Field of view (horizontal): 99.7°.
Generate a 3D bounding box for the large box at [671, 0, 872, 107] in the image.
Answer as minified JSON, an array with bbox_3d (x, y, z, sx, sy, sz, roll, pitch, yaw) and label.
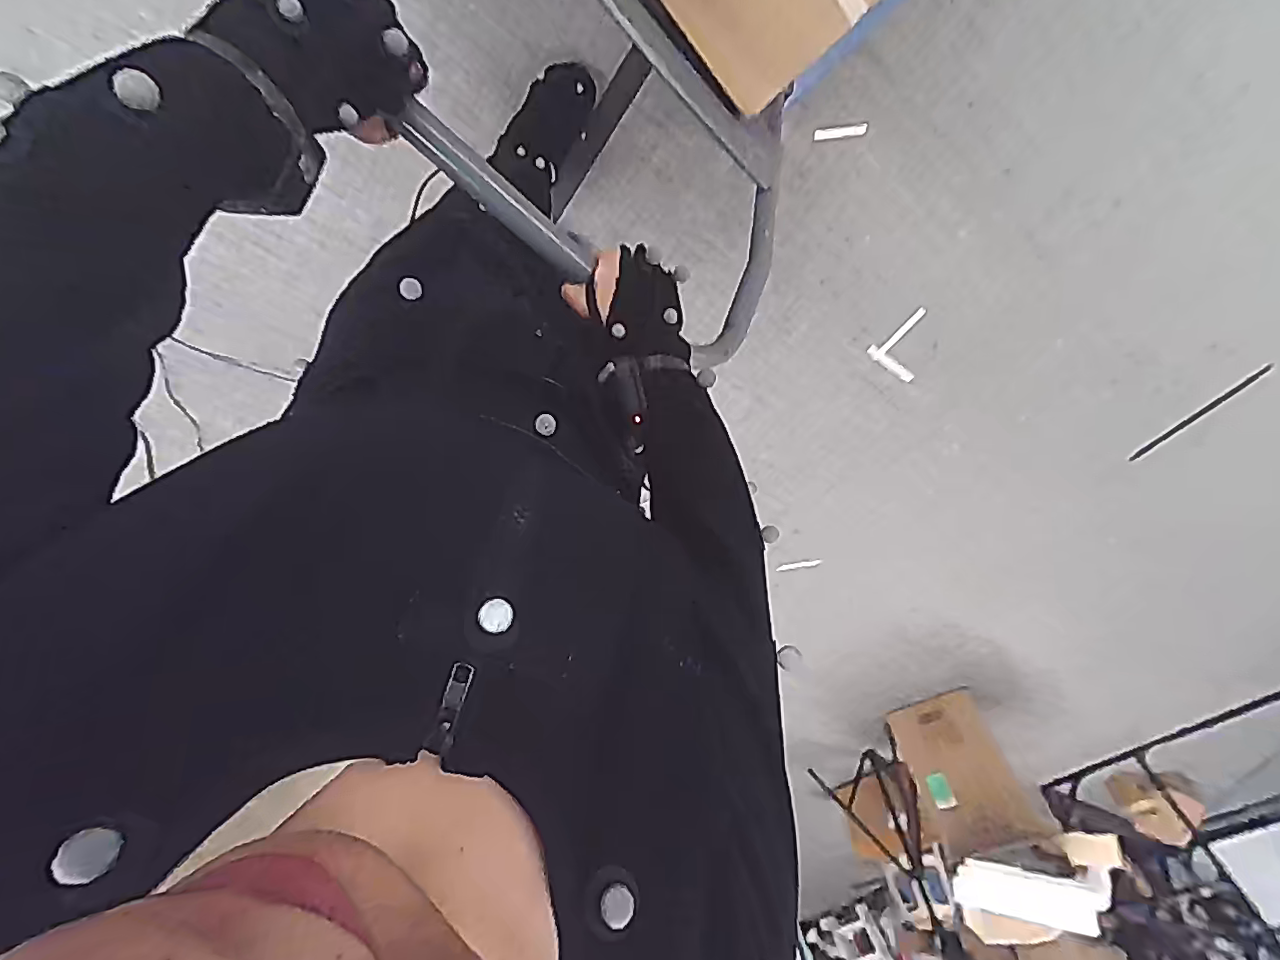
[{"bbox_3d":[0.129,-0.747,0.591,0.408,0.320,0.320,34,139,-31],"label":"large box"}]
